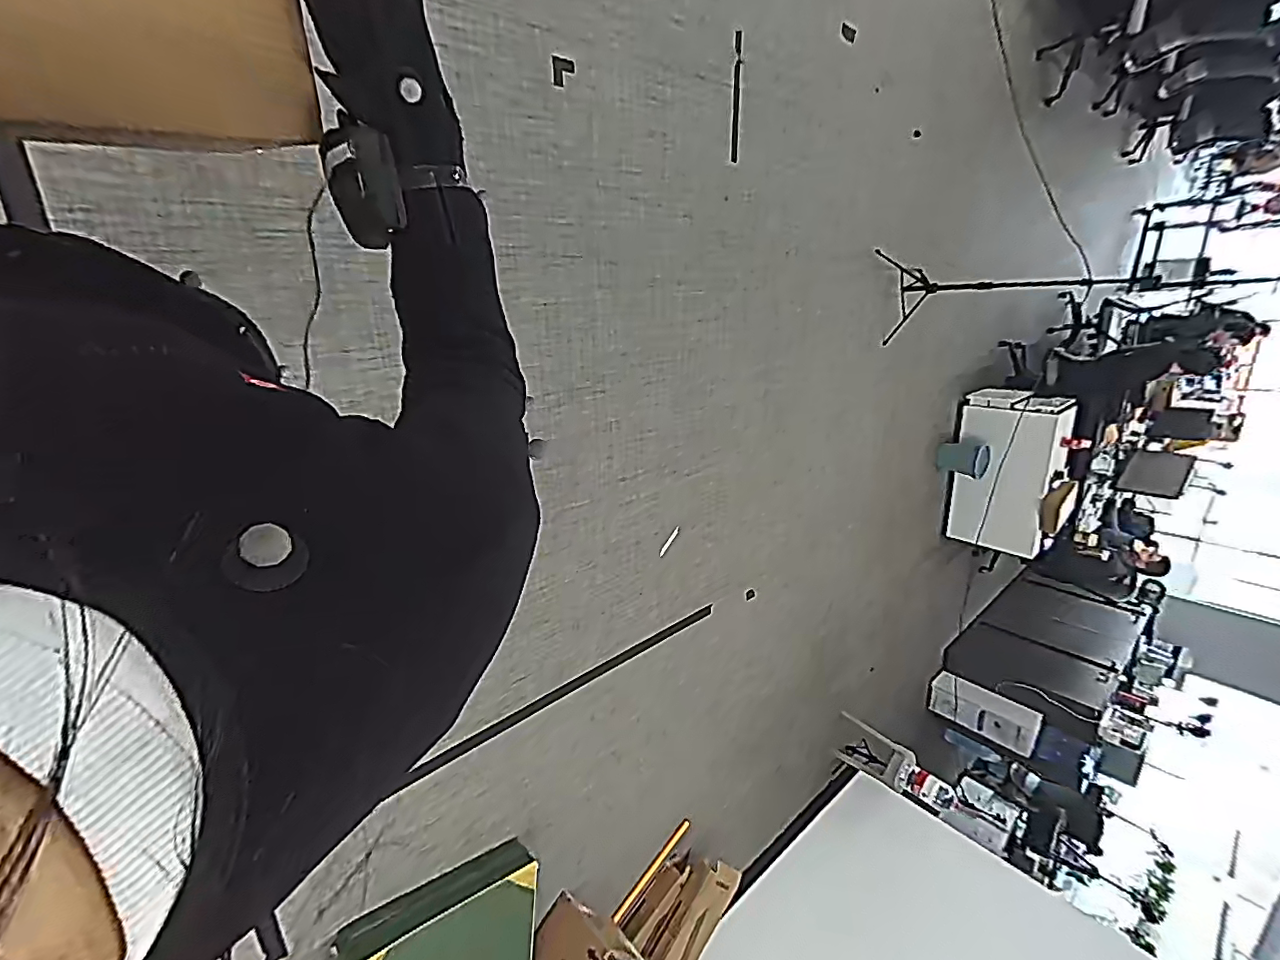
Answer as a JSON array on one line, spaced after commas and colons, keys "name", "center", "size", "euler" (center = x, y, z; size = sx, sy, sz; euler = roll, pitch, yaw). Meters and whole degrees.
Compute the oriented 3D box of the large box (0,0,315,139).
[{"name": "large box", "center": [-0.458, -0.363, 0.264], "size": [0.408, 0.320, 0.320], "euler": [-22, 128, -37]}]
